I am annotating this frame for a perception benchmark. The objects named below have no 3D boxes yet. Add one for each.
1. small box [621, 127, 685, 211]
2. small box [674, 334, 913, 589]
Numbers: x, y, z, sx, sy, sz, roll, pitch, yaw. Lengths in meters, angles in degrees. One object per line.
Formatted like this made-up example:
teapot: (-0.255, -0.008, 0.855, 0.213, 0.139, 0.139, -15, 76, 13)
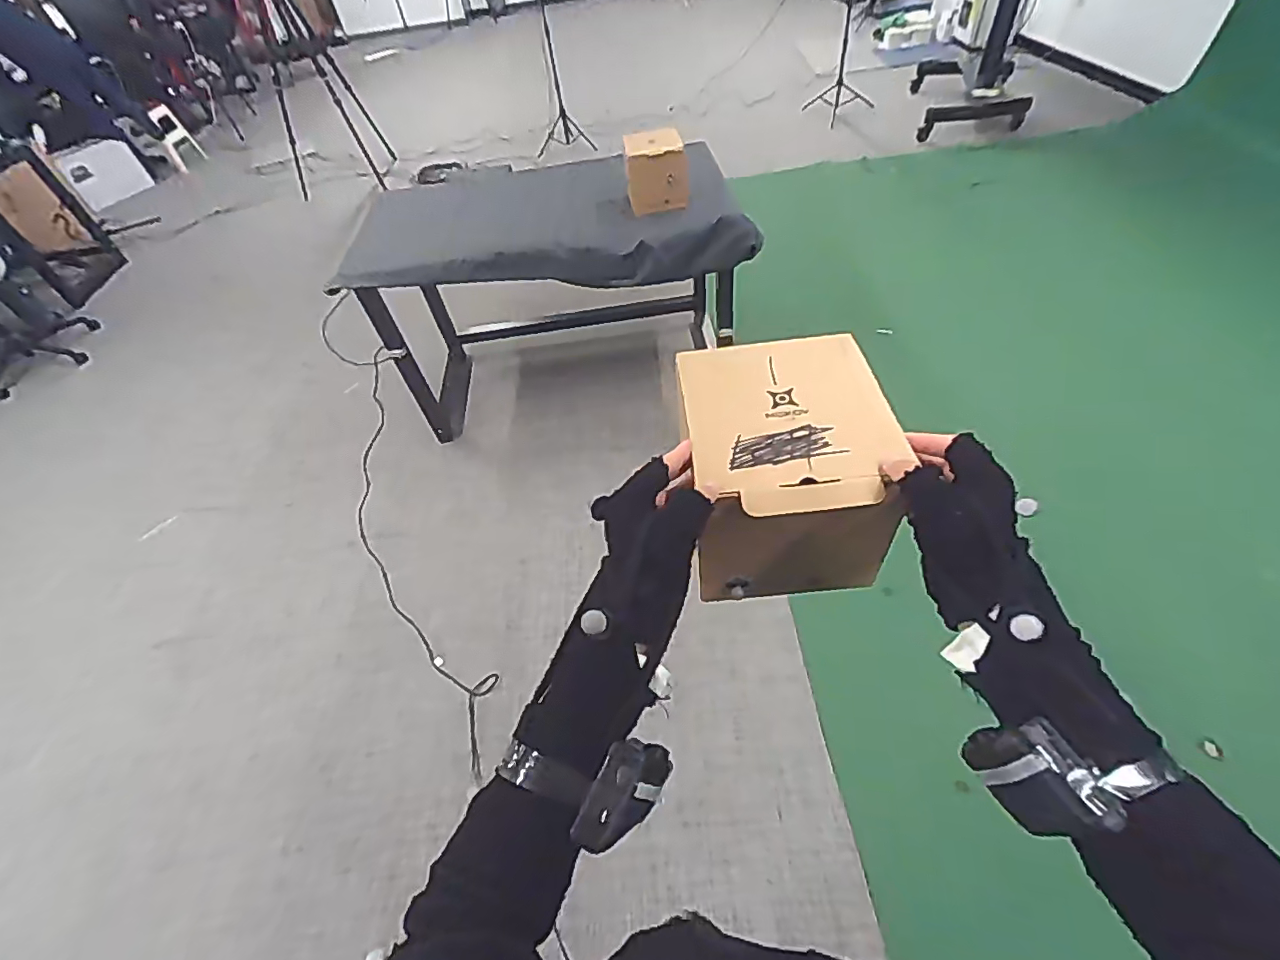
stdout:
small box: (0.040, -0.929, 1.628, 0.168, 0.176, 0.179, -9, 48, 0)
small box: (0.126, -0.009, 0.511, 0.168, 0.176, 0.179, -6, 49, 3)
